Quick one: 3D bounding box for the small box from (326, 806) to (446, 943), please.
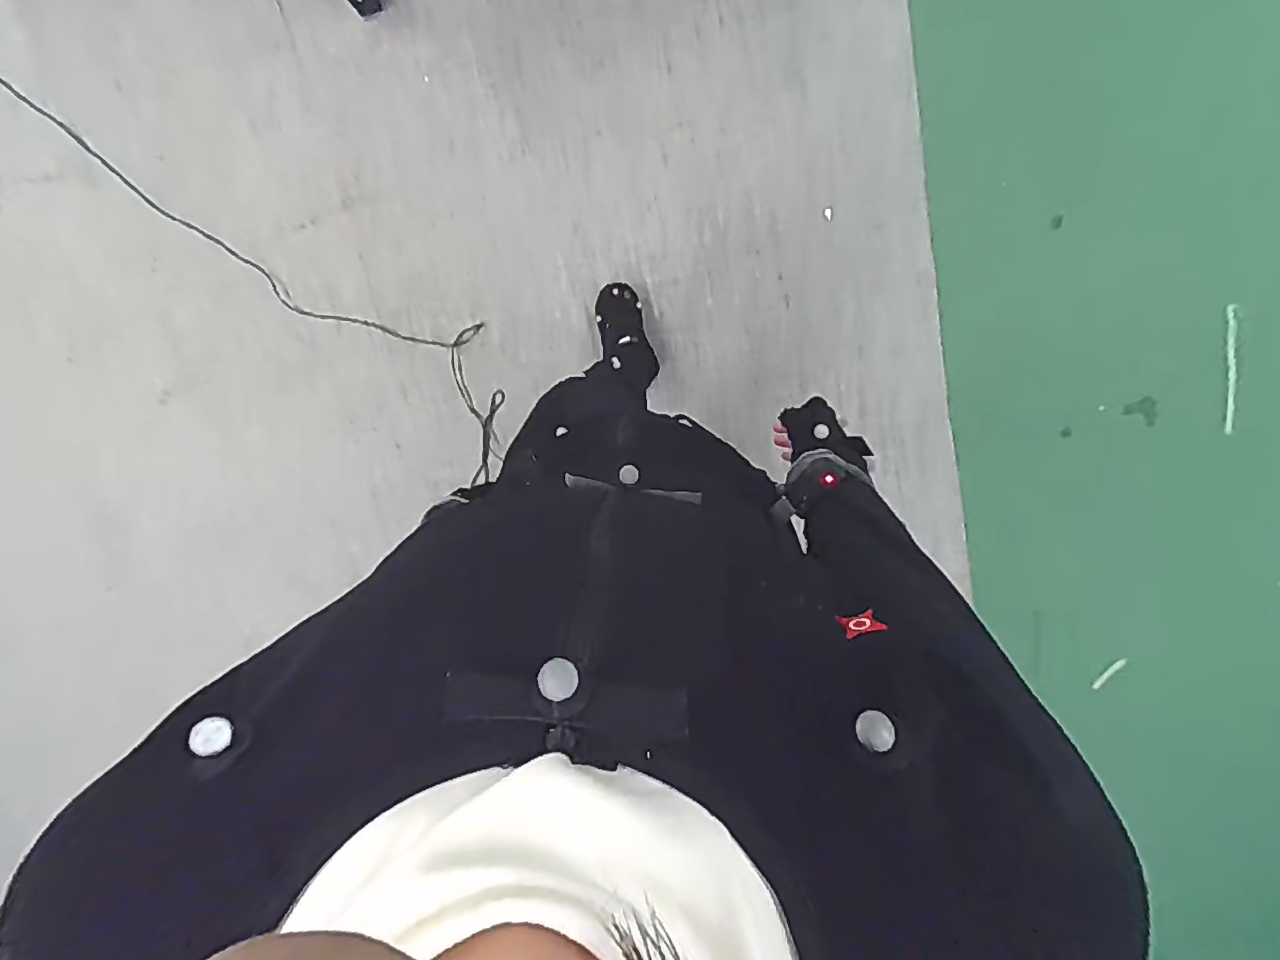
[{"bbox_3d":[-0.577,0.901,1.250,0.179,0.176,0.168,22,103,-1],"label":"small box"}]
